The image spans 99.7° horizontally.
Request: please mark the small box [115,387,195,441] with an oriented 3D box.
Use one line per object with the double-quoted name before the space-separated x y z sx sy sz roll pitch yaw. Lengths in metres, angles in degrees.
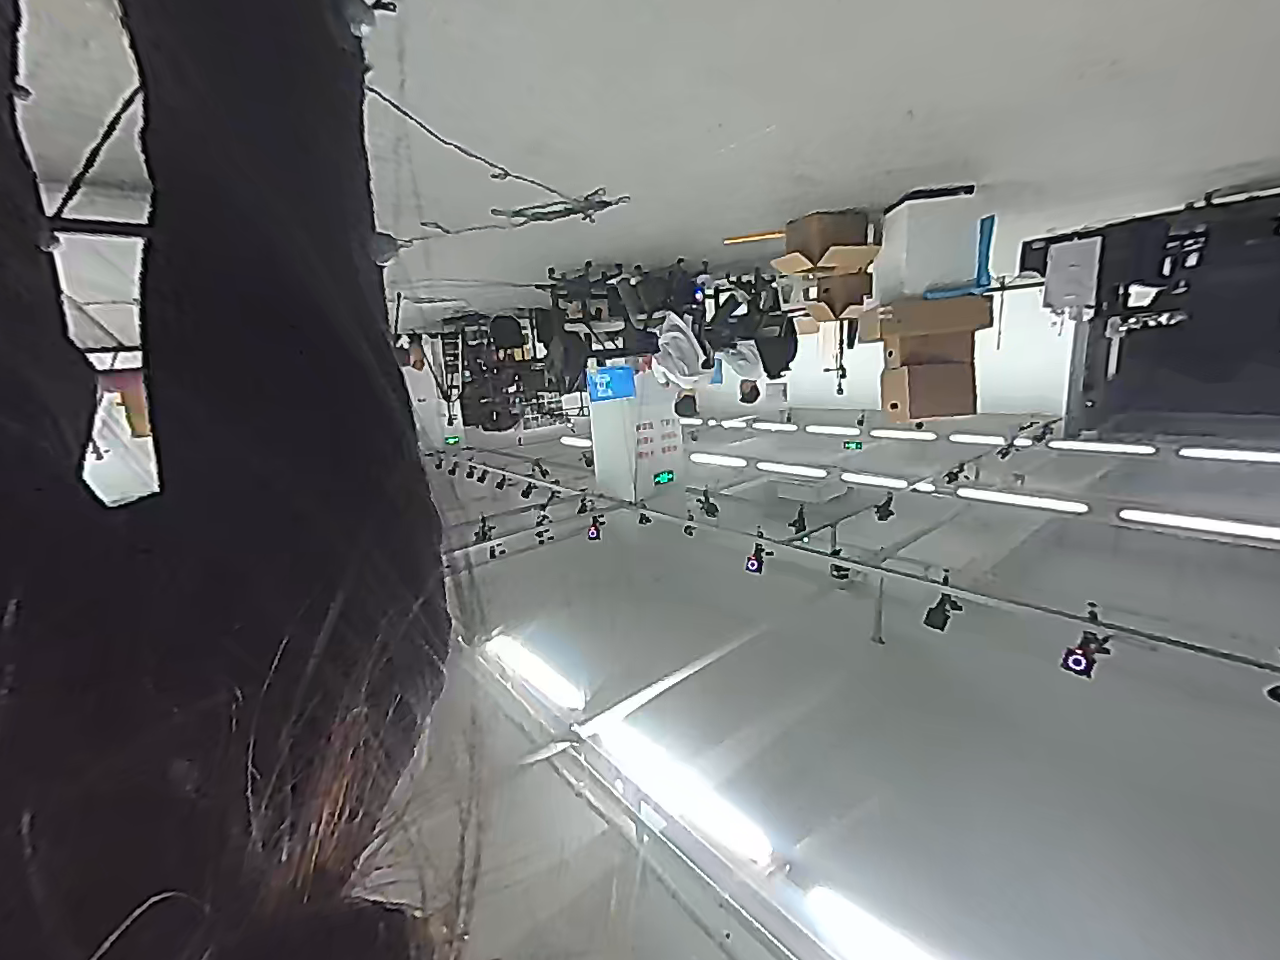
"small box" -1.726 -0.243 1.925 0.179 0.176 0.168 -16 -162 -42
